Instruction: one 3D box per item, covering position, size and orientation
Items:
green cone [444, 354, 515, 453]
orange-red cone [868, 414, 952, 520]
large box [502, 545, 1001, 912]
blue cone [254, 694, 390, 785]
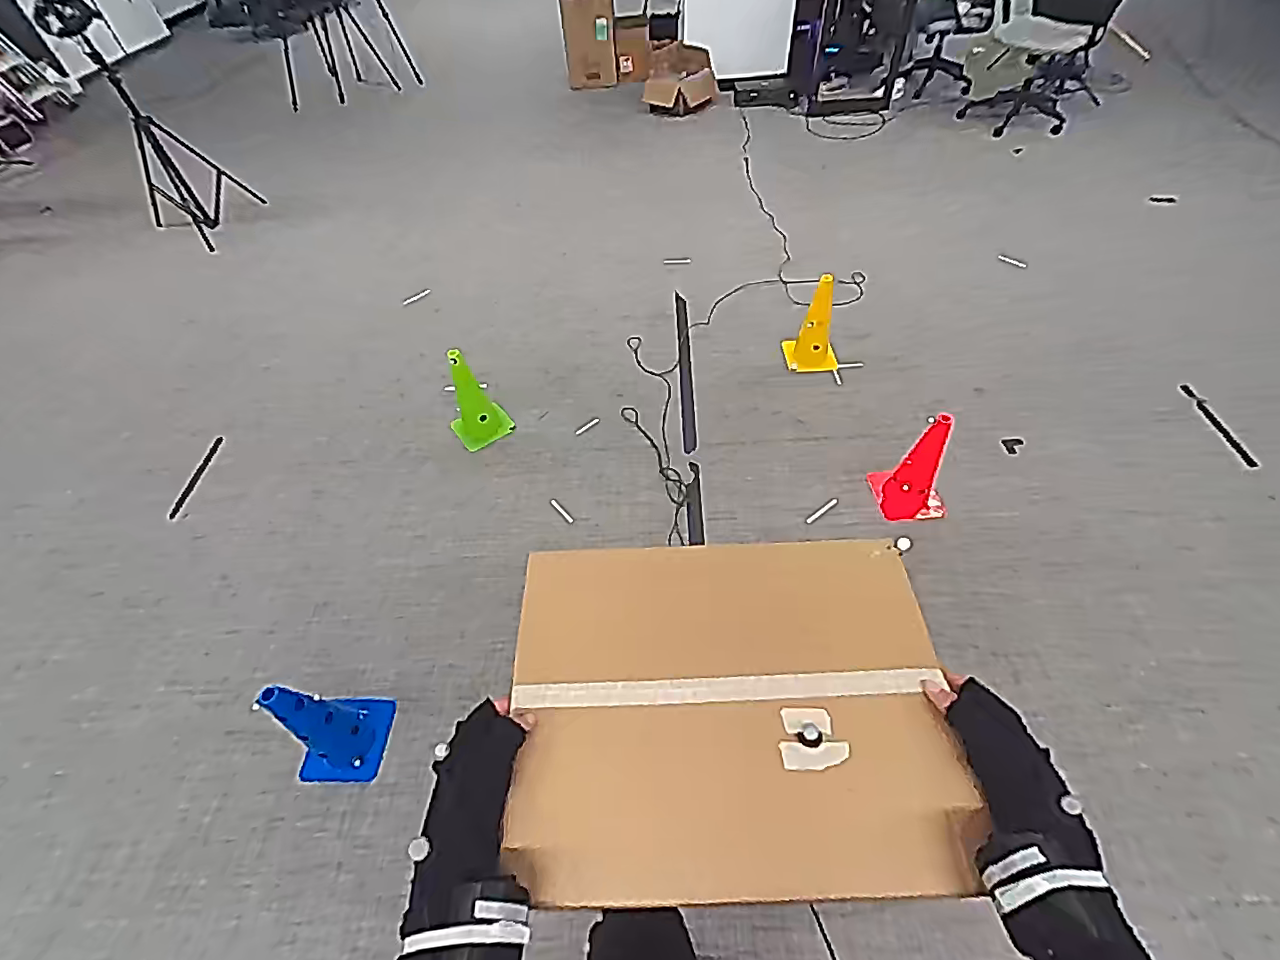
[{"bbox_3d":[-0.623,-0.307,1.960,0.202,0.368,0.200,-34,56,-19],"label":"green cone"},{"bbox_3d":[0.861,-0.060,1.644,0.198,0.360,0.199,-4,50,0],"label":"orange-red cone"},{"bbox_3d":[0.085,0.295,0.630,0.408,0.320,0.320,-2,52,1],"label":"large box"},{"bbox_3d":[-0.767,0.582,1.275,0.192,0.380,0.193,-1,51,5],"label":"blue cone"}]
